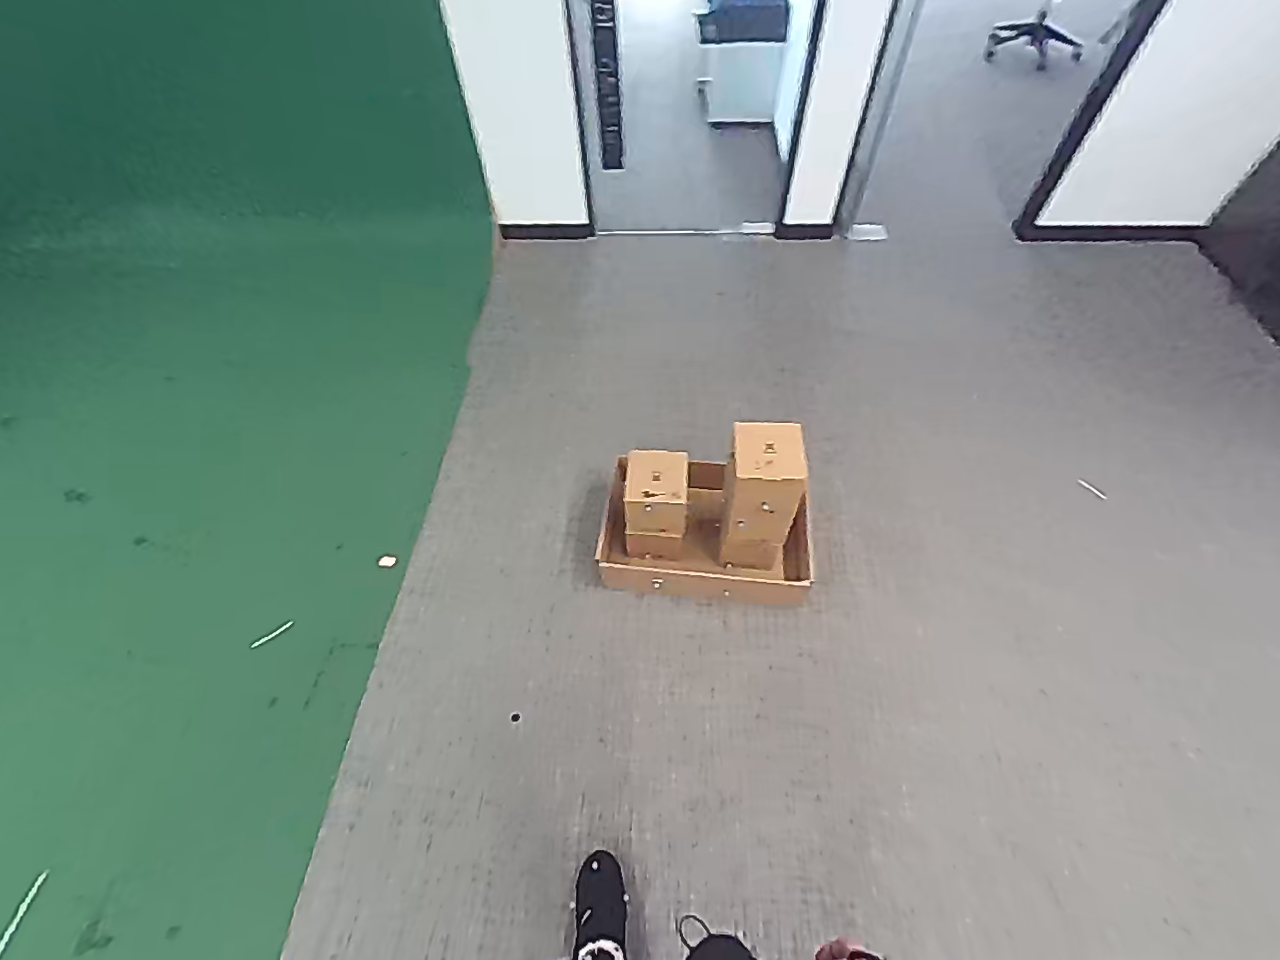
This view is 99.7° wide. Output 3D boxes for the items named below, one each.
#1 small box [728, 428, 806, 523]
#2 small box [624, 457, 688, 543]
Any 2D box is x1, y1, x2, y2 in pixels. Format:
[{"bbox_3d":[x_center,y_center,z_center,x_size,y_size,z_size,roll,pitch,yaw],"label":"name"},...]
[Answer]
[{"bbox_3d":[0.313,-0.011,1.369,0.168,0.176,0.179,1,54,4],"label":"small box"},{"bbox_3d":[0.048,0.057,1.535,0.168,0.176,0.179,2,53,4],"label":"small box"}]
